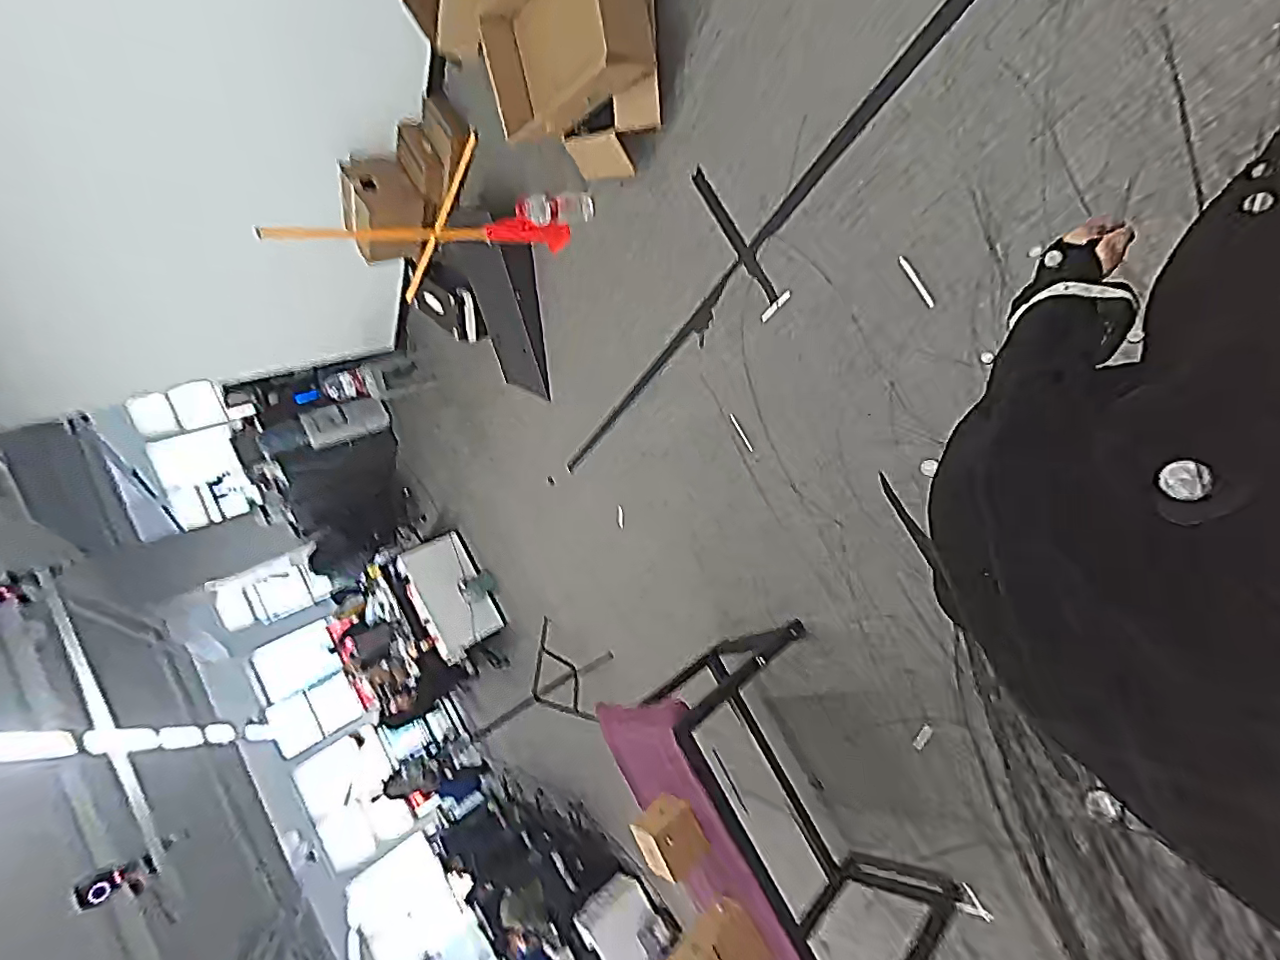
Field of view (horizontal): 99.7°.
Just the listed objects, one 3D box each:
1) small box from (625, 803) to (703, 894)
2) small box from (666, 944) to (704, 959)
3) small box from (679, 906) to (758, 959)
[{"bbox_3d":[0.082,1.250,1.851,0.168,0.176,0.179,-28,87,56],"label":"small box"},{"bbox_3d":[0.152,1.630,1.696,0.168,0.176,0.179,-39,76,53],"label":"small box"},{"bbox_3d":[0.268,1.581,1.798,0.179,0.176,0.168,60,145,10],"label":"small box"}]
